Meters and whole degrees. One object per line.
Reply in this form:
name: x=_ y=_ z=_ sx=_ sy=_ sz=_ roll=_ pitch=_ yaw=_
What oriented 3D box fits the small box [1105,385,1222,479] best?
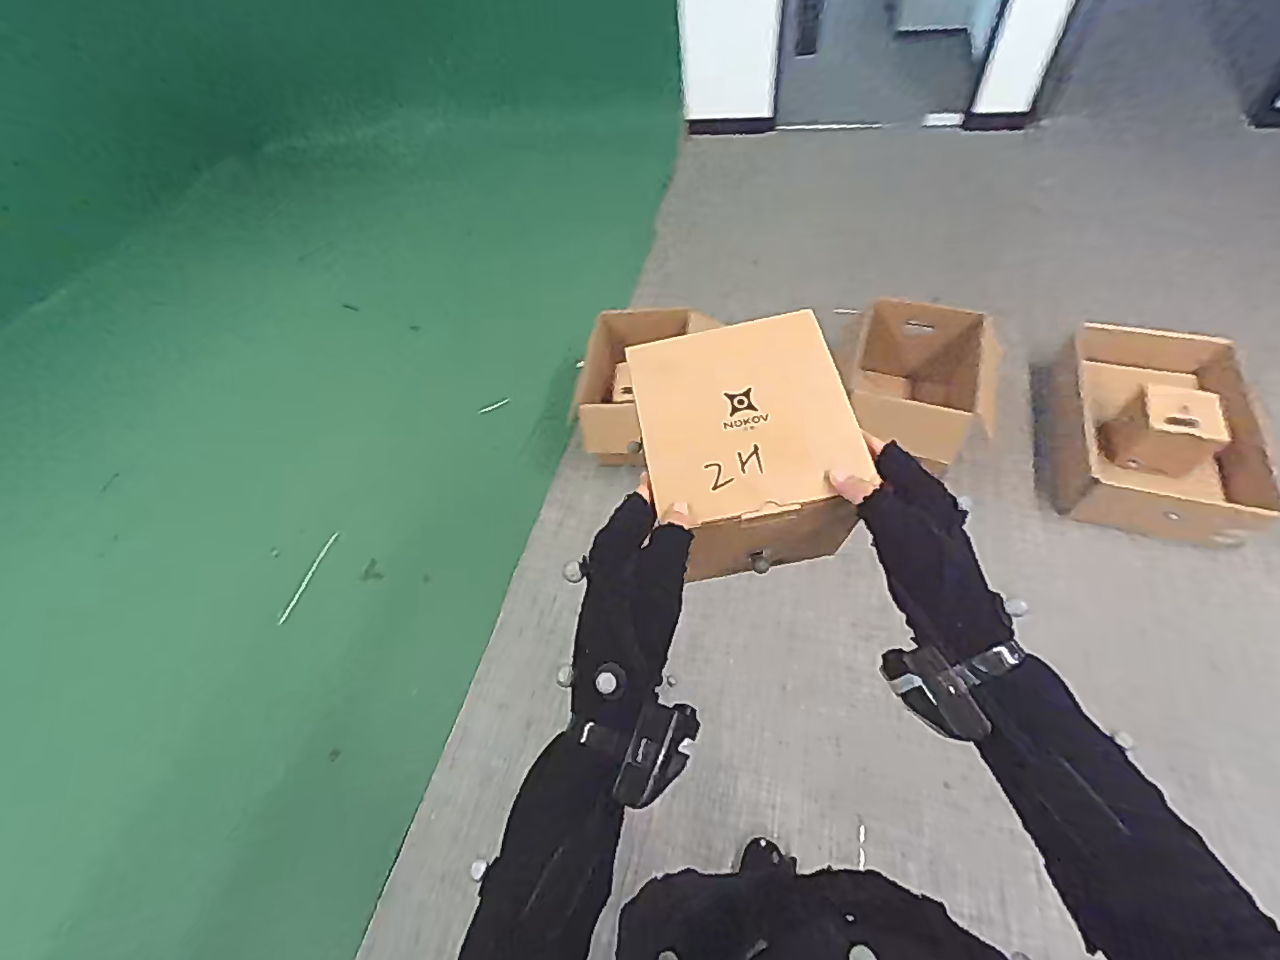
small box: x=1.422 y=-0.128 z=1.482 sx=0.168 sy=0.176 sz=0.179 roll=15 pitch=57 yaw=17

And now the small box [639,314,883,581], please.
small box: x=0.097 y=-0.021 z=0.507 sx=0.168 sy=0.176 sz=0.179 roll=-10 pitch=65 yaw=3
